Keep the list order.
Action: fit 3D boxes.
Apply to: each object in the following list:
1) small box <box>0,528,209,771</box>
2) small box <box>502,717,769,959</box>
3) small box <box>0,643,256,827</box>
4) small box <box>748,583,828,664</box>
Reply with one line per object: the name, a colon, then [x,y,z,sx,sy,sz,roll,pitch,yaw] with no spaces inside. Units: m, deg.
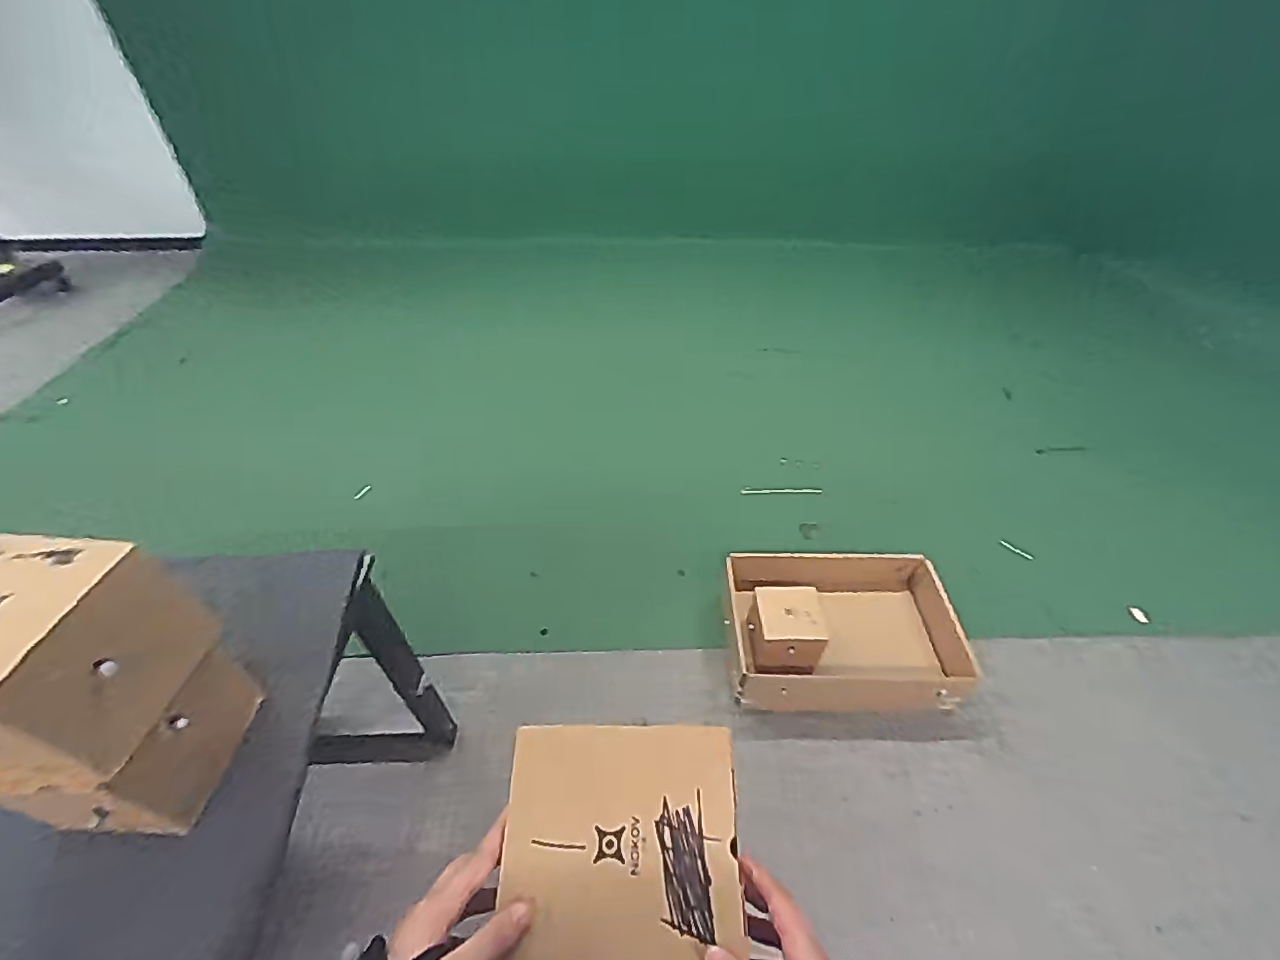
small box: [-0.594,0.170,0.540,0.168,0.176,0.179,4,45,3]
small box: [-0.001,0.302,0.451,0.179,0.176,0.168,0,56,2]
small box: [-0.612,0.296,0.647,0.168,0.176,0.179,2,44,1]
small box: [0.405,0.406,1.520,0.179,0.176,0.168,1,46,-1]
